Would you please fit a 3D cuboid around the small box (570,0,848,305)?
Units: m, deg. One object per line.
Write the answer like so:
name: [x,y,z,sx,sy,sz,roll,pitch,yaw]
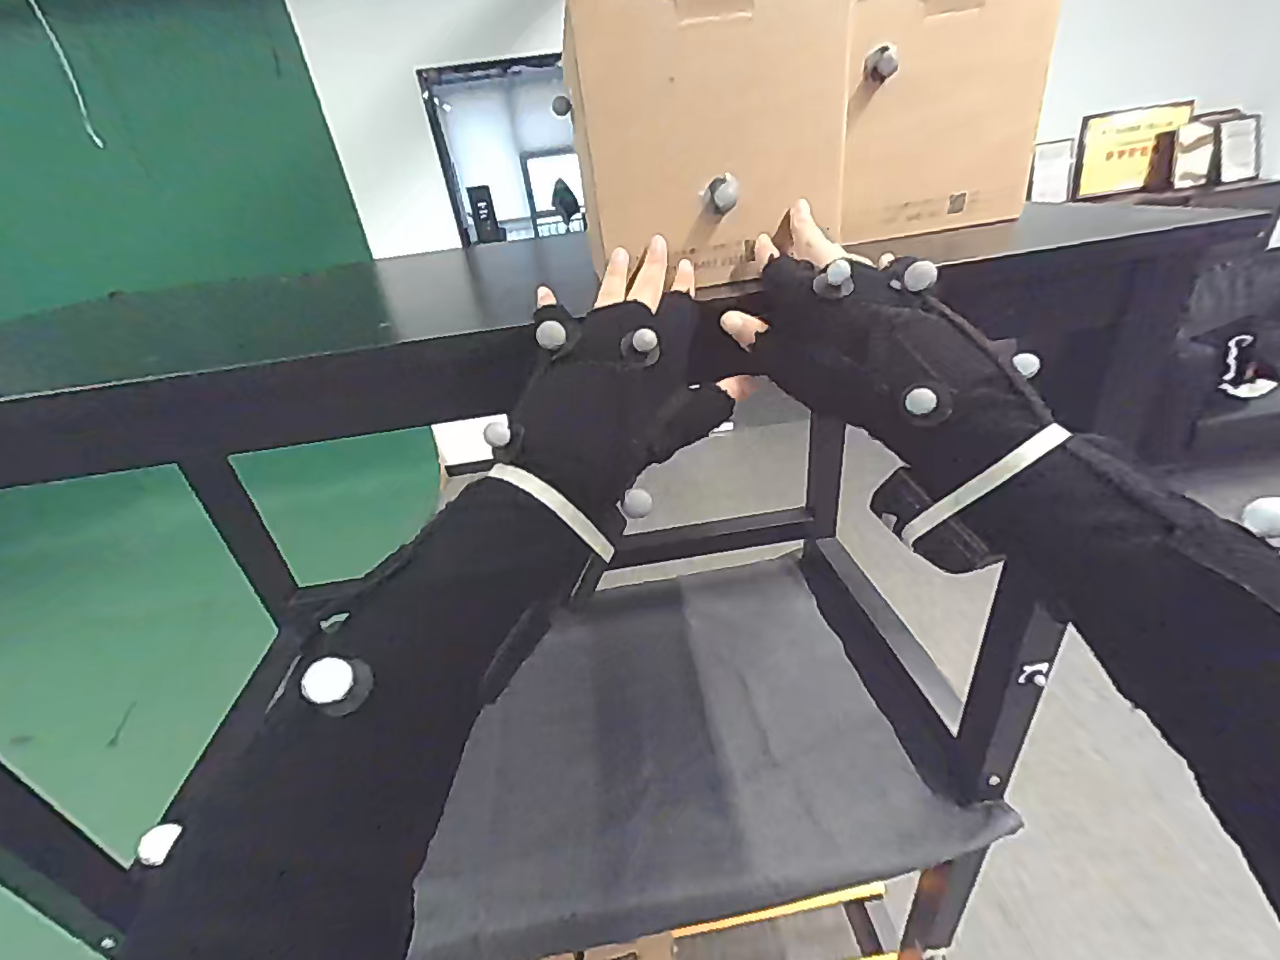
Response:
small box: [0.040,-0.242,0.419,0.168,0.176,0.179,-10,30,-3]
